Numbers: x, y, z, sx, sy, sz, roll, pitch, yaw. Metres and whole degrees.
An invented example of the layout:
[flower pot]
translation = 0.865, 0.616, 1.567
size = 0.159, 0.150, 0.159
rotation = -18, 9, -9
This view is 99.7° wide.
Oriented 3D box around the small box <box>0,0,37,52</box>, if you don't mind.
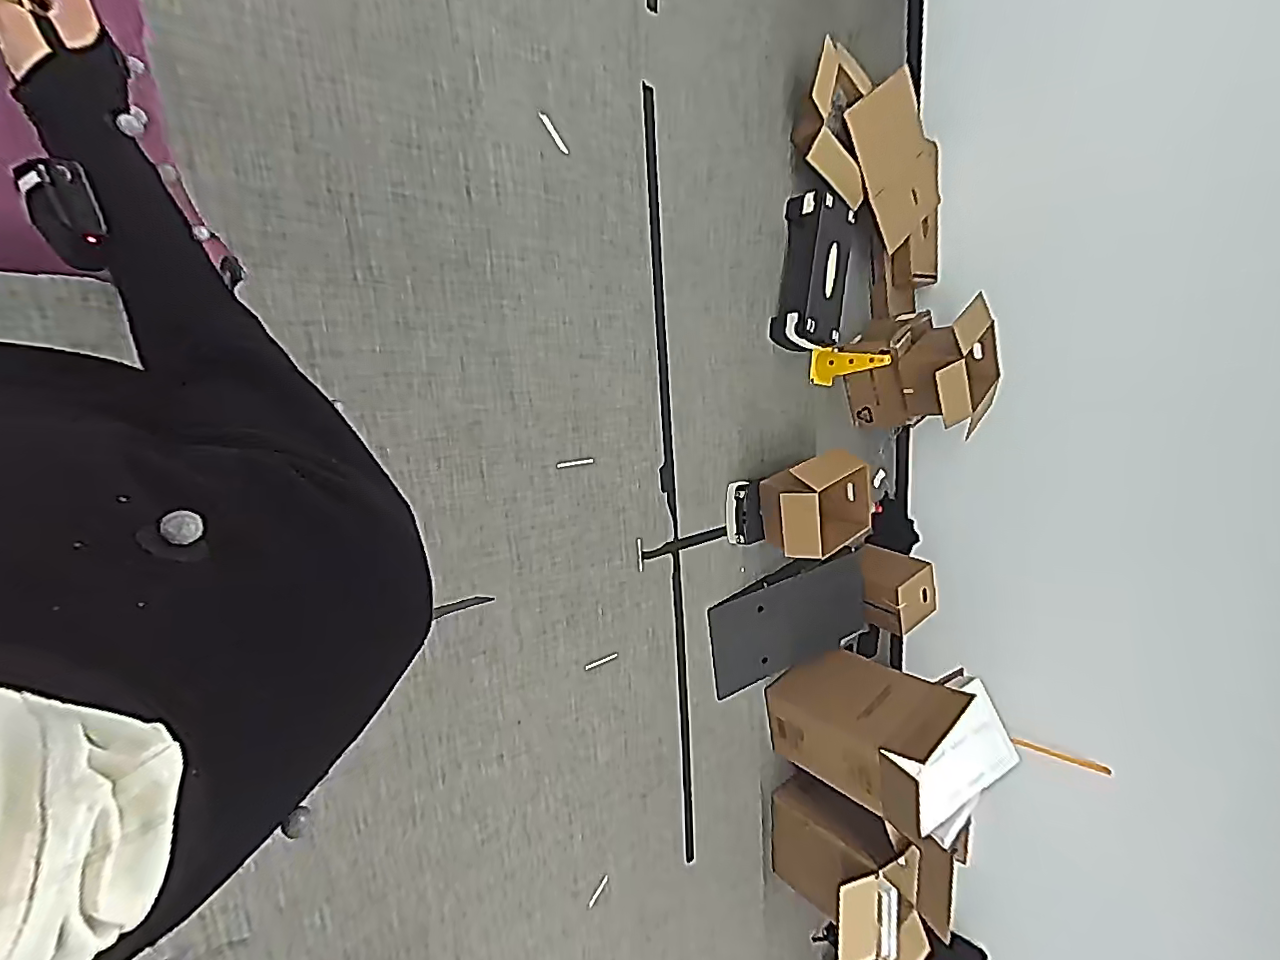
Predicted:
[small box]
translation = -0.601, -0.445, 0.396
size = 0.179, 0.176, 0.168
rotation = -15, 121, -38
